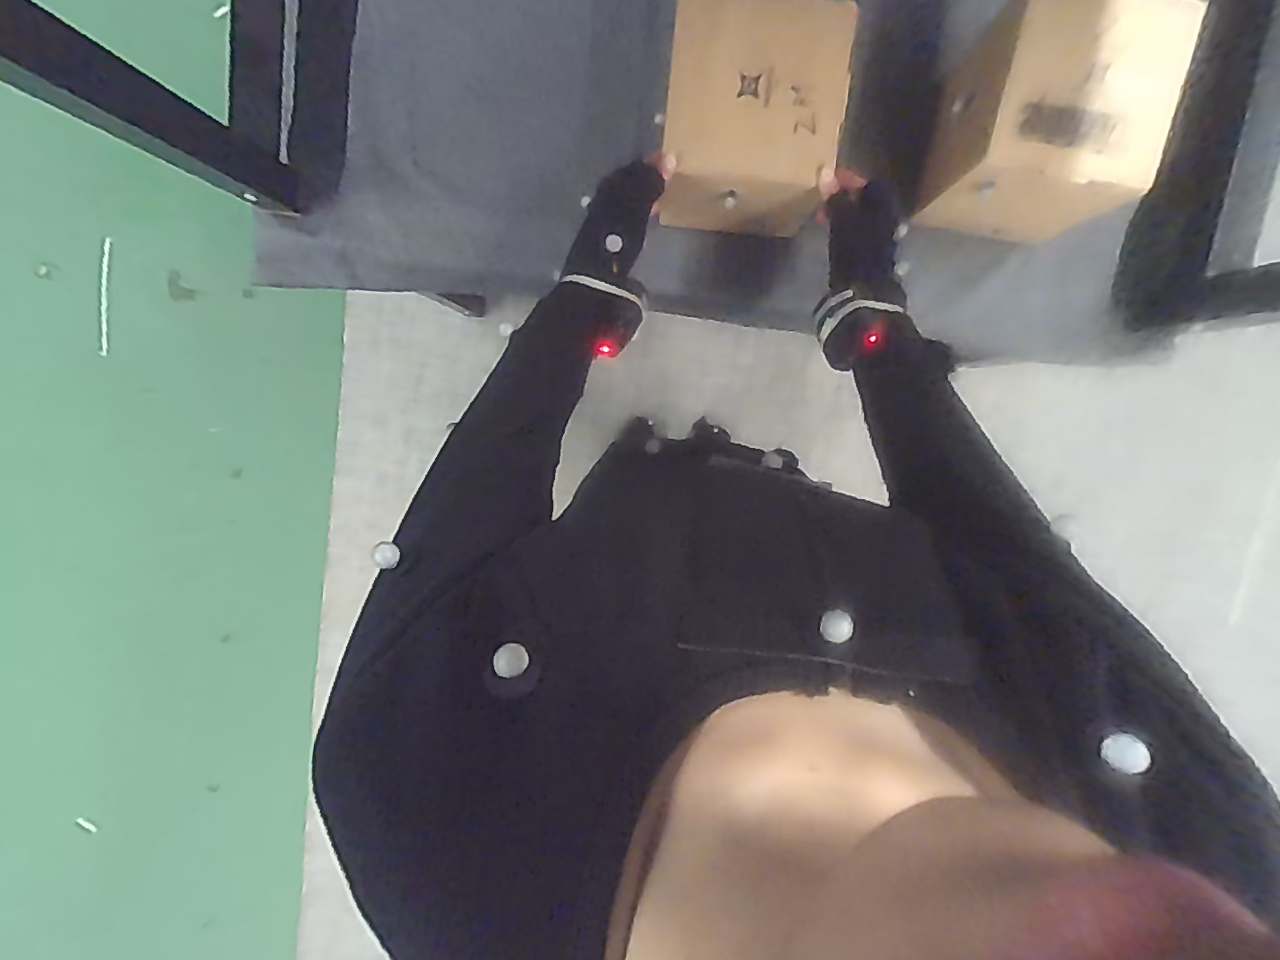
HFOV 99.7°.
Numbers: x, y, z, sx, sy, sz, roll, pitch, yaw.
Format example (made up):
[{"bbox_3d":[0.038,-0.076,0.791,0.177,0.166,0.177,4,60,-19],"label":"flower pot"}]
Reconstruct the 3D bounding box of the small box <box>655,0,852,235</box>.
[{"bbox_3d":[0.113,-0.392,0.612,0.179,0.176,0.168,6,99,1],"label":"small box"}]
